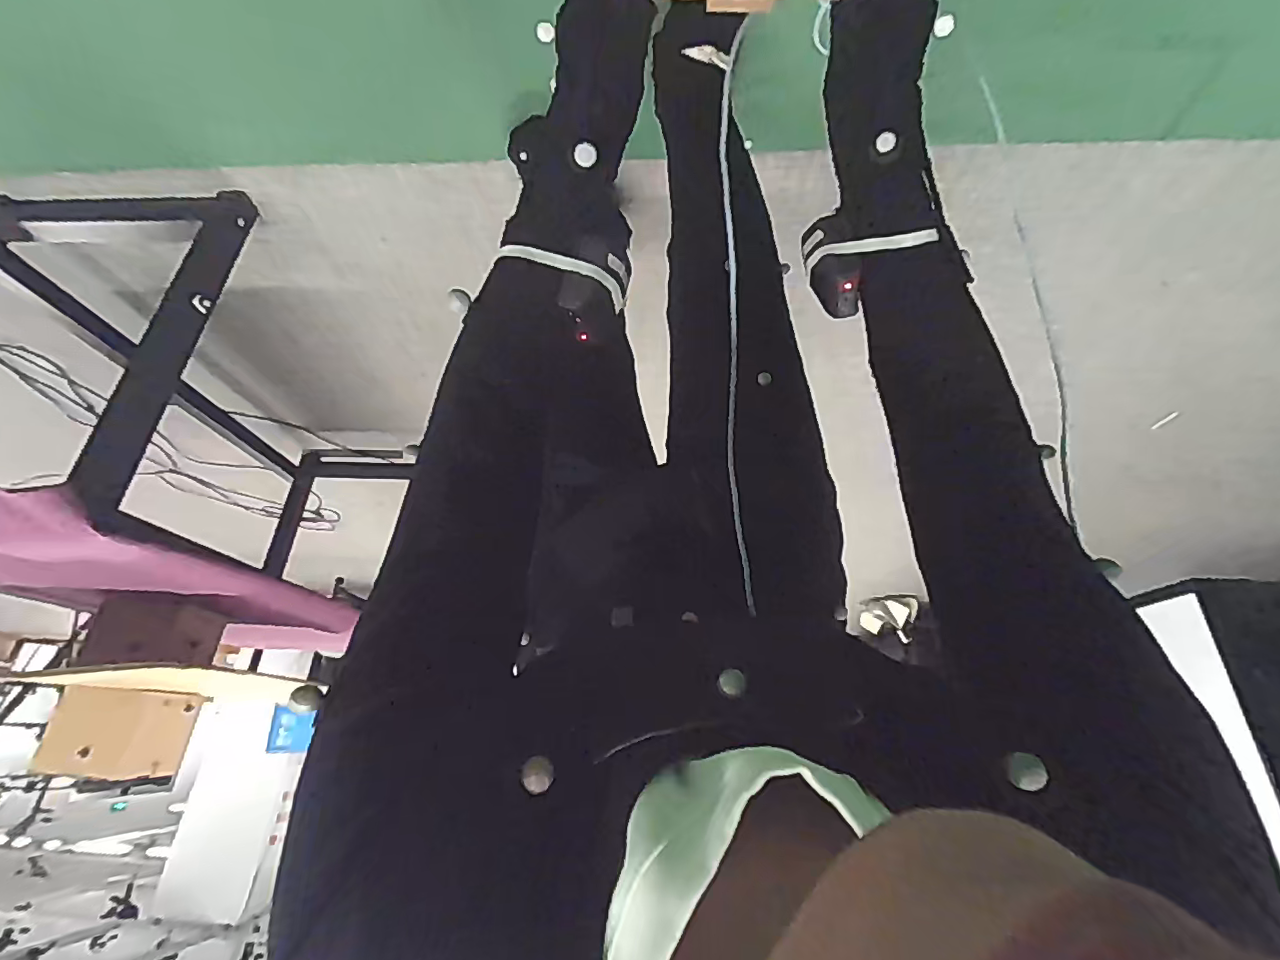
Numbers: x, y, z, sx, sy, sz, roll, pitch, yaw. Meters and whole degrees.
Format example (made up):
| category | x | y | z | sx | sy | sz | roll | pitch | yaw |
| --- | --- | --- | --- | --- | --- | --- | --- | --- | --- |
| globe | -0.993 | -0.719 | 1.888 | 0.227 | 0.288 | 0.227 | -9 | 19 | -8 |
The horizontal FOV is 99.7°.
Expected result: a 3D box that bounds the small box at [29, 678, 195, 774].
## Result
| category | x | y | z | sx | sy | sz | roll | pitch | yaw |
| --- | --- | --- | --- | --- | --- | --- | --- | --- | --- |
| small box | -1.114 | 0.525 | 1.165 | 0.179 | 0.176 | 0.168 | 4 | 155 | 2 |
